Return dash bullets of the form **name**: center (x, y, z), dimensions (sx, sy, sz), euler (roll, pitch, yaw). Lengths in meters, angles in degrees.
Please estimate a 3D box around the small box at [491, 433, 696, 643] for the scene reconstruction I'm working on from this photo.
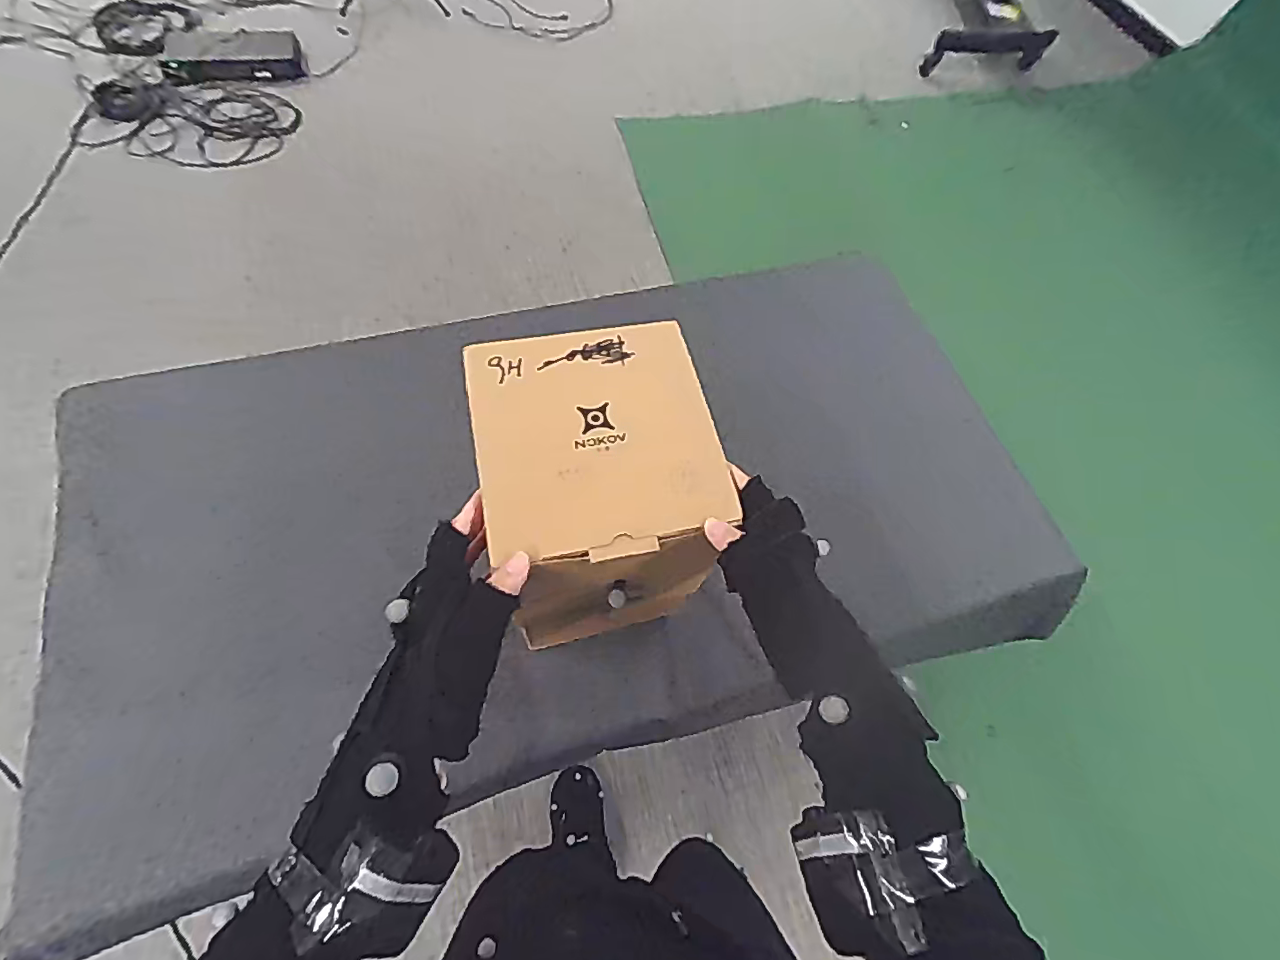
- **small box**: center (-0.056, 0.072, 0.607), dimensions (0.179, 0.176, 0.168), euler (-12, 66, -13)
